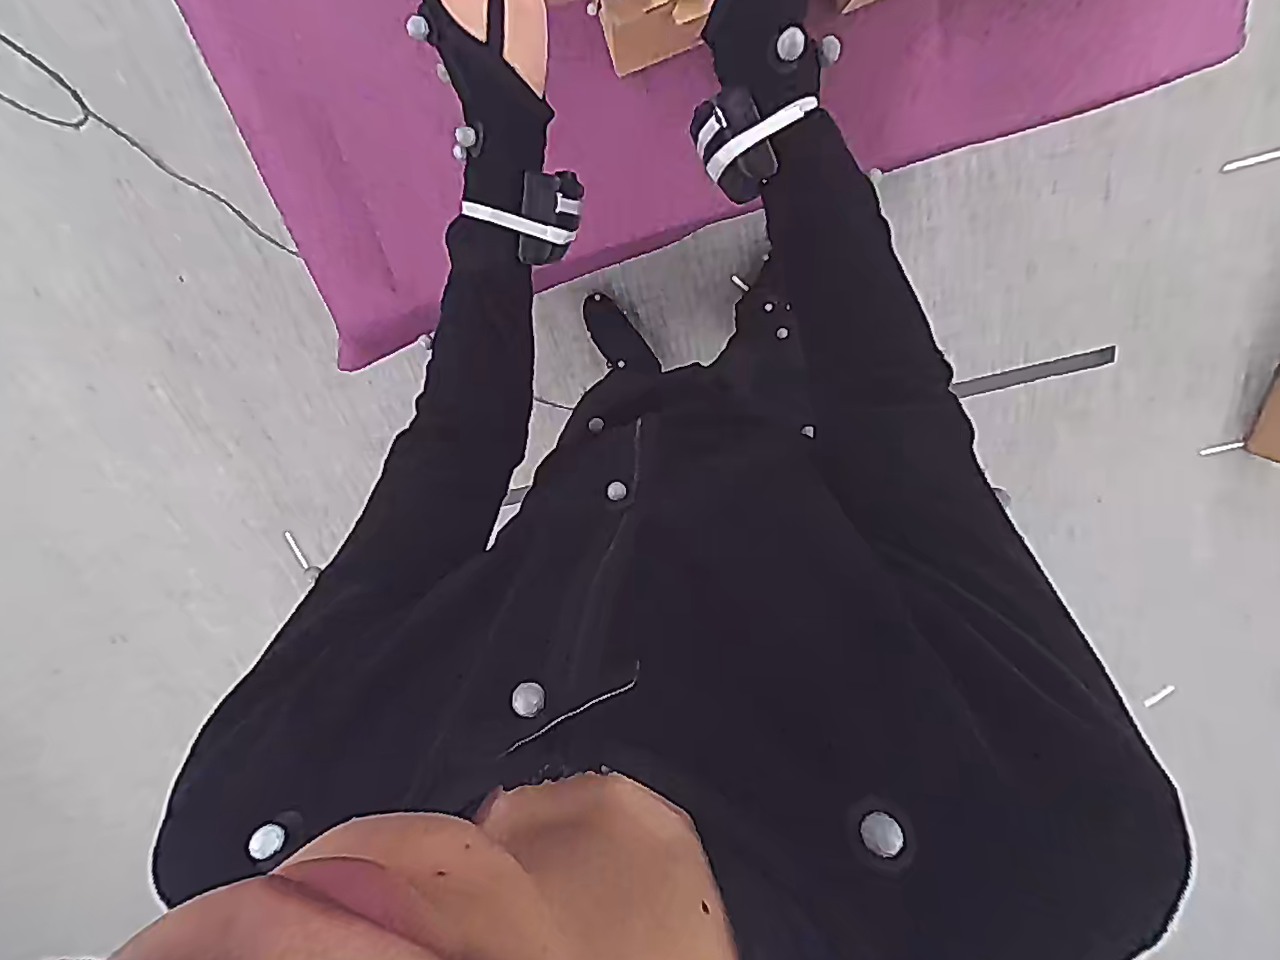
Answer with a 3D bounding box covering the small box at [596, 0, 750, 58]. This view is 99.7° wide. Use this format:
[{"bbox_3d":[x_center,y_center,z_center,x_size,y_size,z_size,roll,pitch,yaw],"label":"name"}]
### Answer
[{"bbox_3d":[0.025,-0.564,0.544,0.168,0.176,0.179,-17,112,6],"label":"small box"}]
